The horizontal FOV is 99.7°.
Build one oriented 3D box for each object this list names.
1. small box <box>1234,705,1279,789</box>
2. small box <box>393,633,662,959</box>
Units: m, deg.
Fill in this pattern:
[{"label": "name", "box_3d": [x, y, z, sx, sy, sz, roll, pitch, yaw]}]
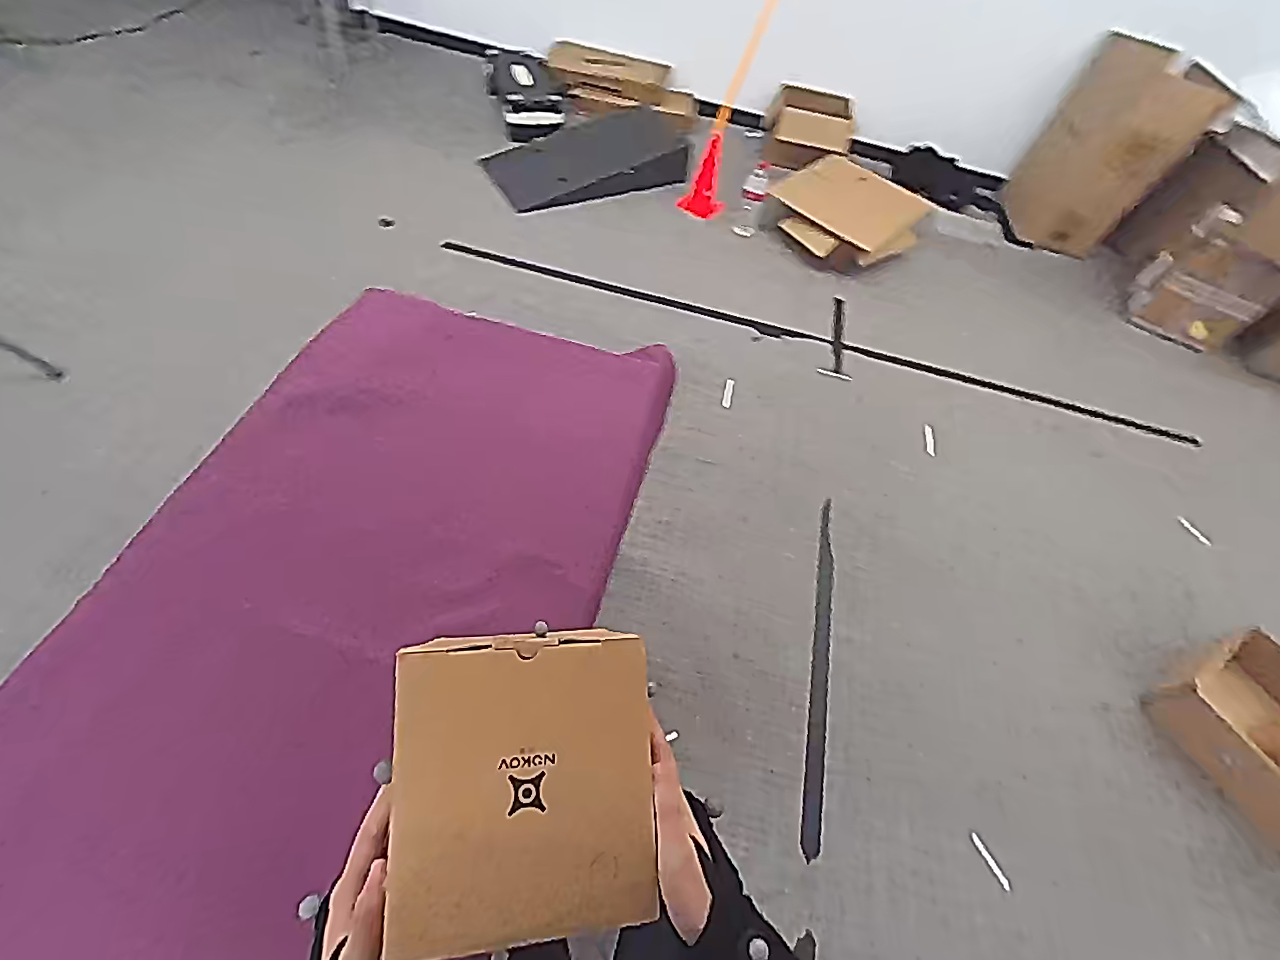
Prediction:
[{"label": "small box", "box_3d": [1.786, 0.716, 1.456, 0.179, 0.176, 0.168, -23, 63, -22]}, {"label": "small box", "box_3d": [-0.083, 0.217, 0.425, 0.168, 0.176, 0.179, 0, 75, -12]}]
